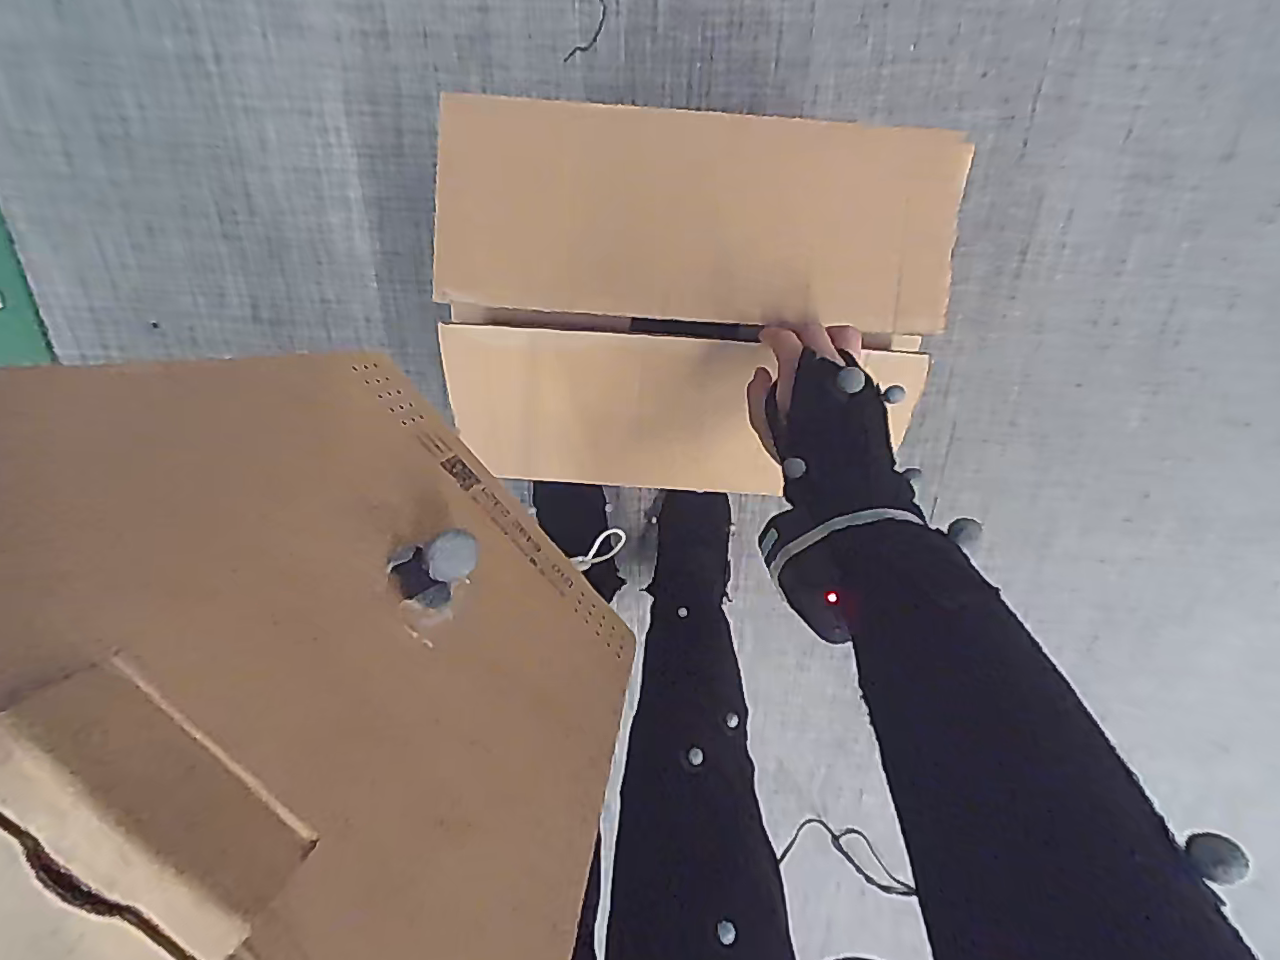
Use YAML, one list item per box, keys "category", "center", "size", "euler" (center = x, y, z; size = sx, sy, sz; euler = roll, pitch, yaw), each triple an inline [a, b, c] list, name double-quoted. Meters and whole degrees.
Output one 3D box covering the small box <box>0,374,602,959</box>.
- category: "small box"
  center: [-0.127, 0.082, 0.170]
  size: [0.179, 0.176, 0.168]
  euler: [-39, 98, 13]
